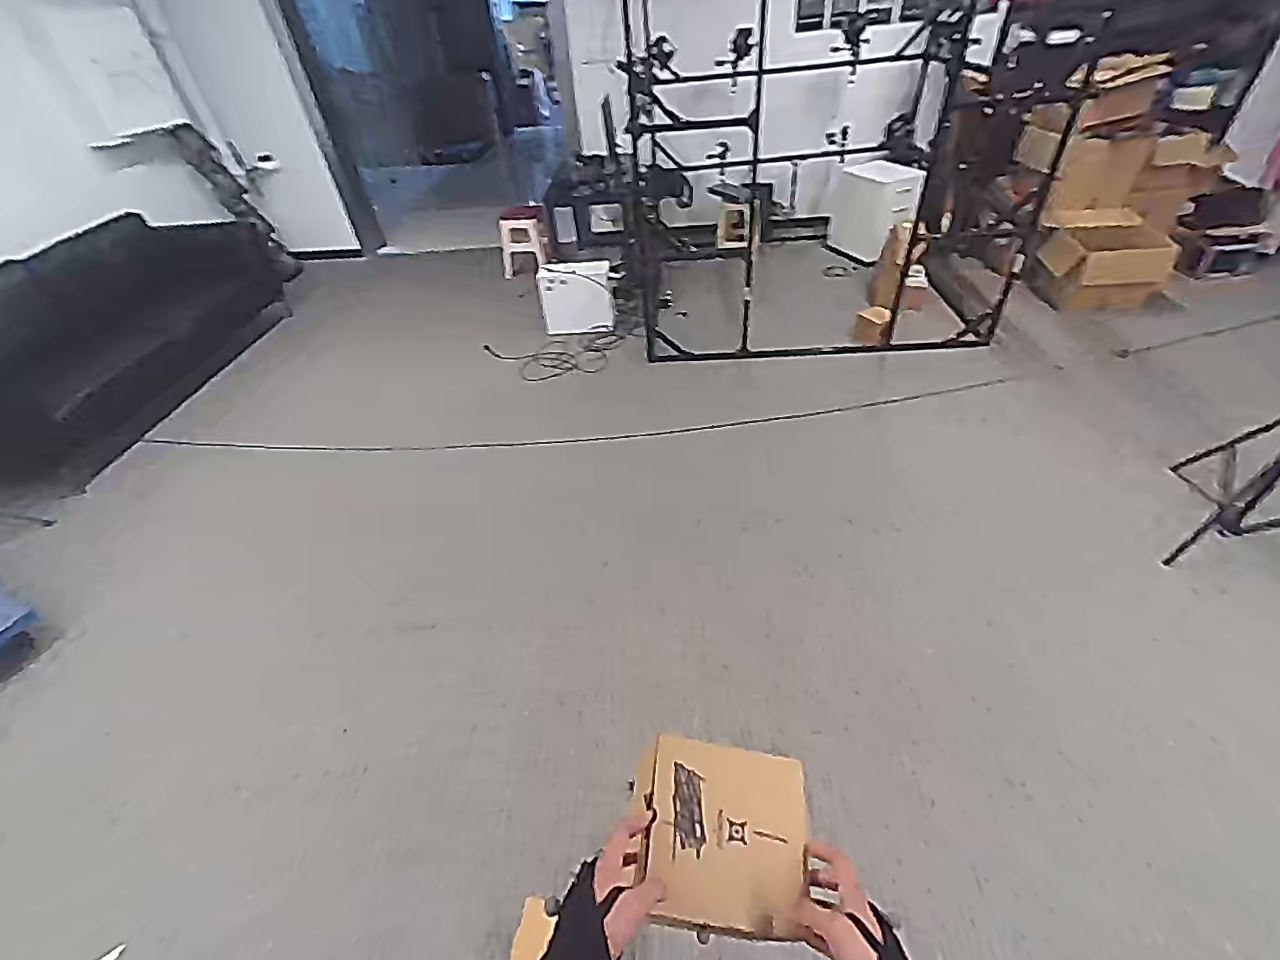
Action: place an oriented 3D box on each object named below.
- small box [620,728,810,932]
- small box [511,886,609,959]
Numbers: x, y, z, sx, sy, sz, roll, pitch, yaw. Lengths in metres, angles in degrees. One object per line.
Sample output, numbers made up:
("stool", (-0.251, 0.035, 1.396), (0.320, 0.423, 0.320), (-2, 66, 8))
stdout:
("small box", (0.080, 0.416, 0.639), (0.179, 0.176, 0.168), (13, 50, -4))
("small box", (-0.175, 1.056, 1.228), (0.179, 0.176, 0.168), (3, 43, 11))
